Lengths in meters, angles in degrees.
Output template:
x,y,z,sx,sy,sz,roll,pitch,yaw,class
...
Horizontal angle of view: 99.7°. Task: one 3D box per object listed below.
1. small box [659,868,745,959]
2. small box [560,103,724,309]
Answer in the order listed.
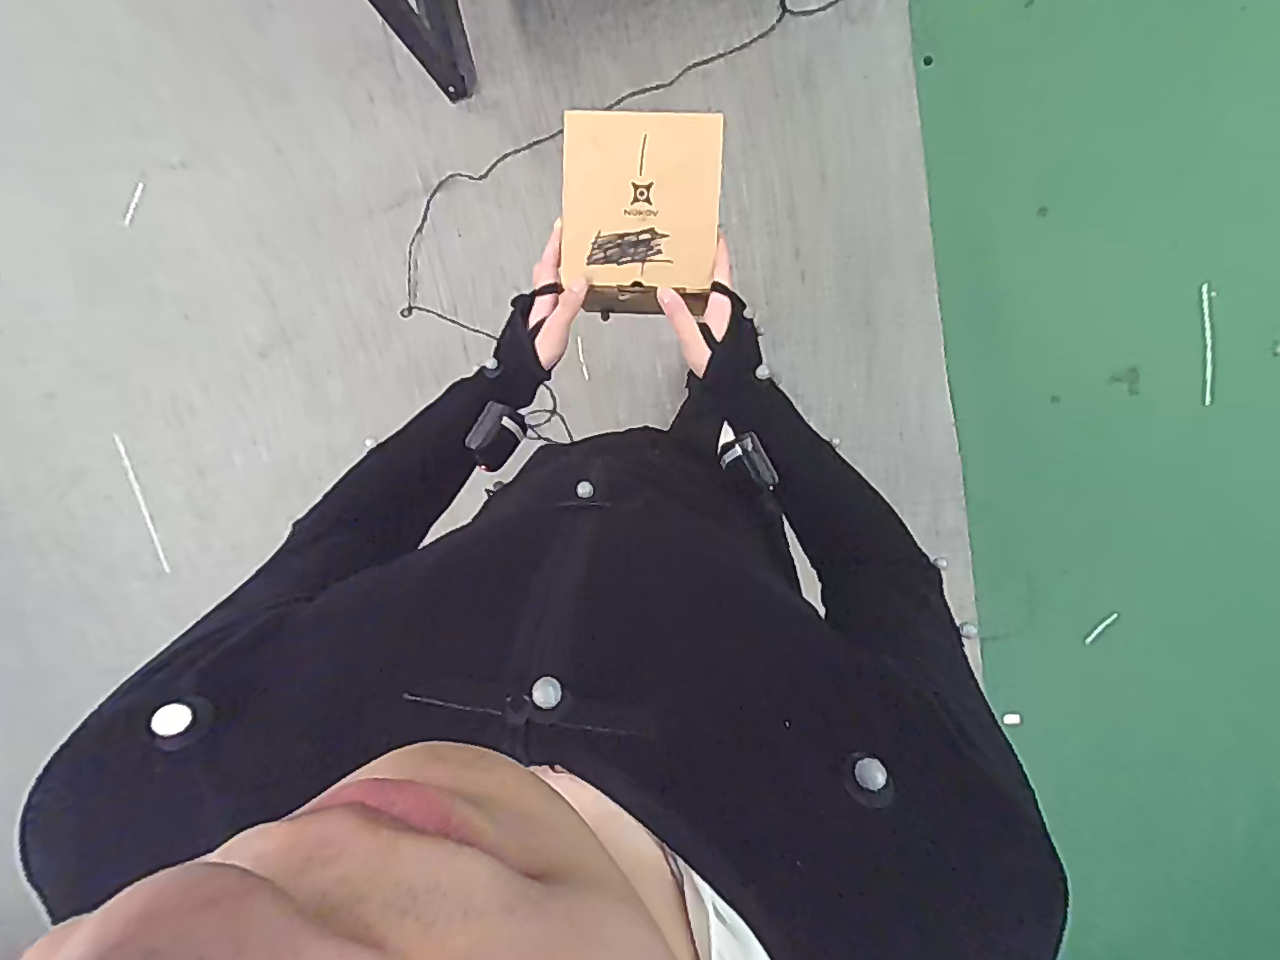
x,y,z,sx,sy,sz,roll,pitch,yaw,class
0.148,1.068,1.288,0.179,0.176,0.168,-14,100,7,small box
0.004,-0.303,0.635,0.168,0.176,0.179,2,98,2,small box
